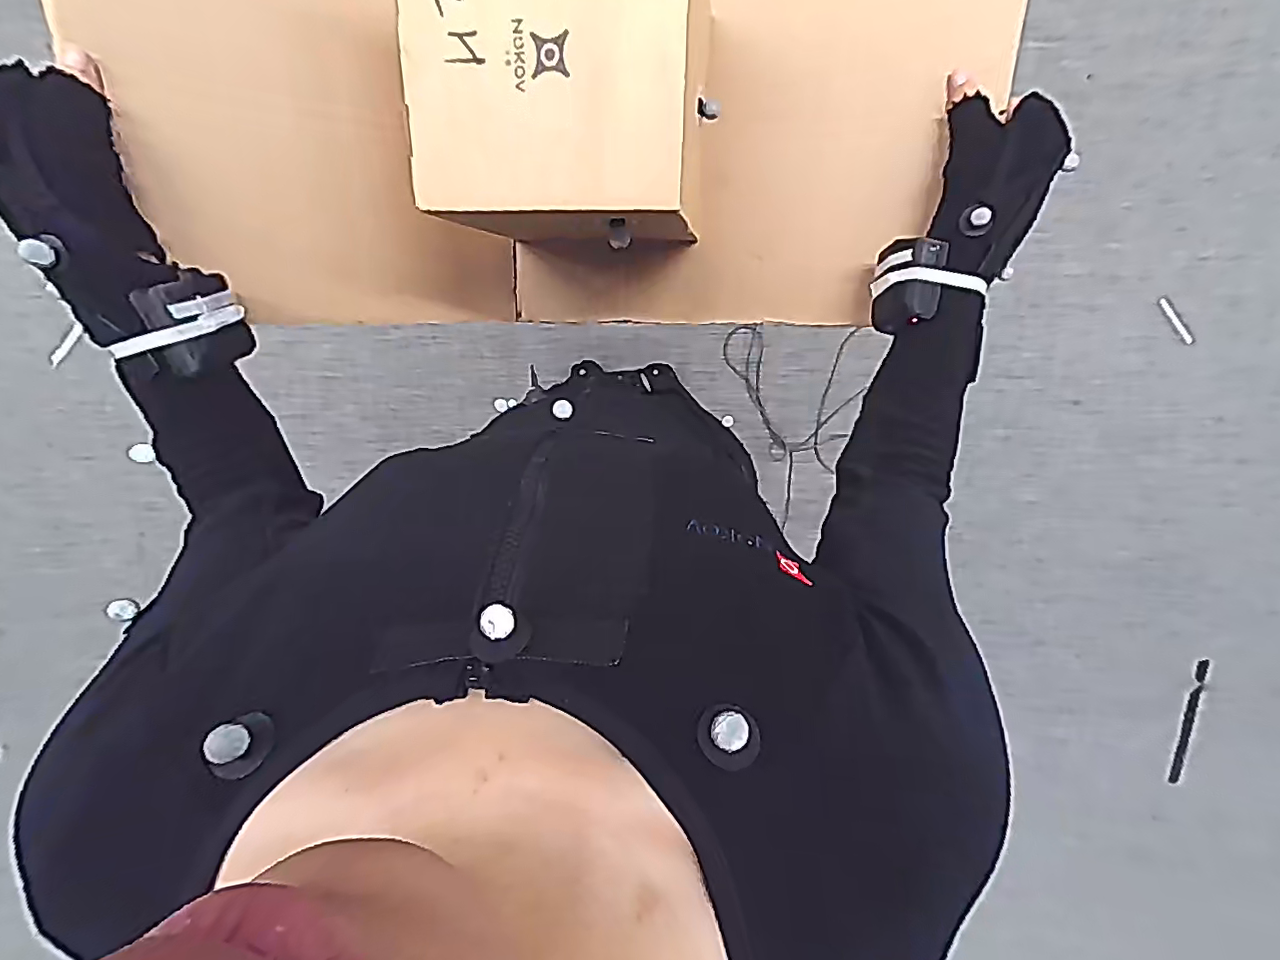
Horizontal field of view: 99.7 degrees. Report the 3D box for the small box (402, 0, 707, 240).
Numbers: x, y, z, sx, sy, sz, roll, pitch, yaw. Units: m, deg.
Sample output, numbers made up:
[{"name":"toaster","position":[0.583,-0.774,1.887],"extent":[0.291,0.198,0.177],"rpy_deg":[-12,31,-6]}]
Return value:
[{"name":"small box","position":[-0.045,-0.276,0.397],"extent":[0.179,0.176,0.168],"rpy_deg":[5,109,9]}]
